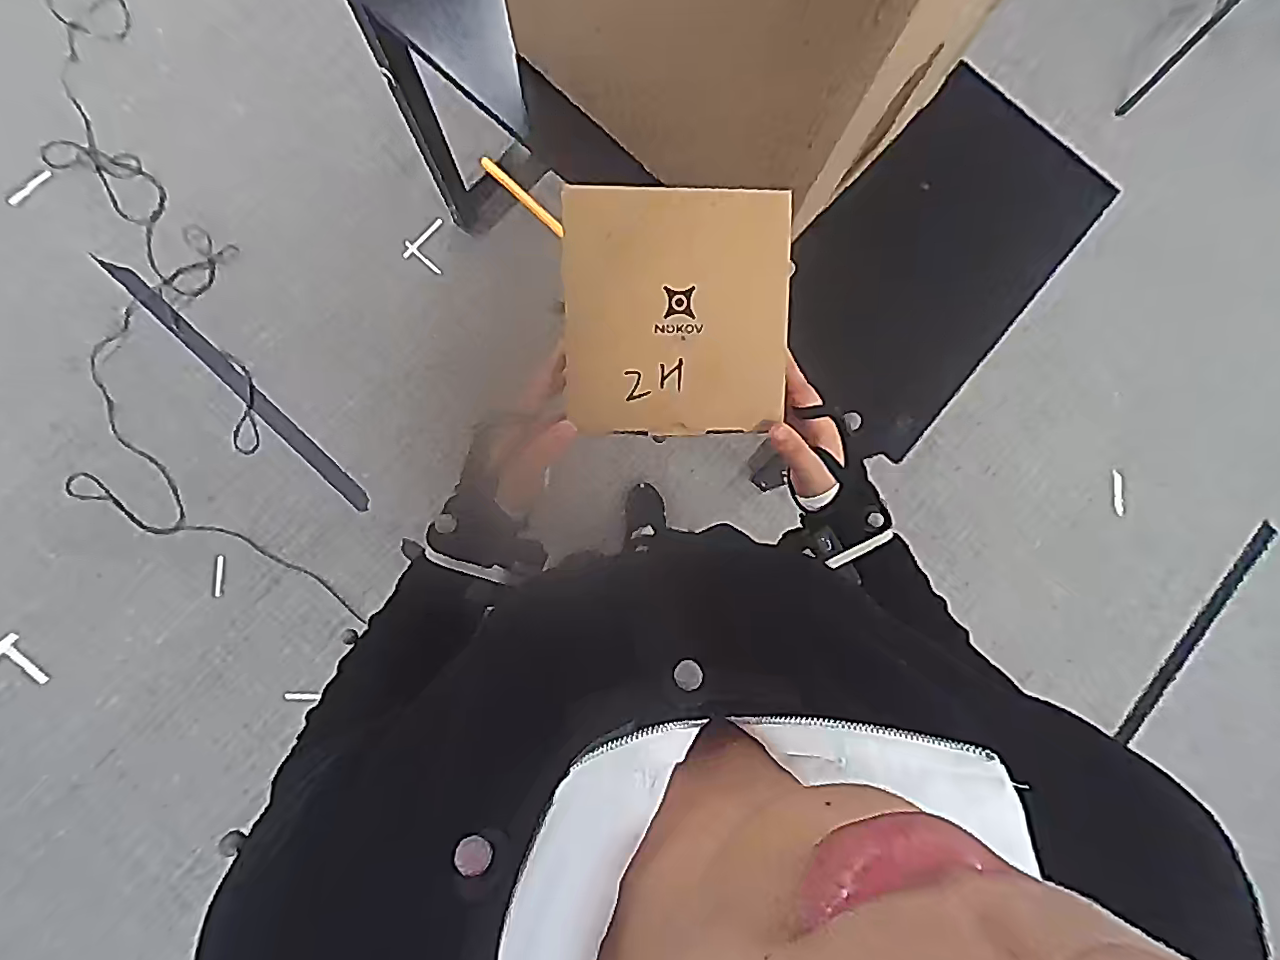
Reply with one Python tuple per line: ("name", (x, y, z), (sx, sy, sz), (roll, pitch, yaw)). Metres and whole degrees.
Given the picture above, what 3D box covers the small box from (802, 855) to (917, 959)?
("small box", (0.531, 1.089, 1.338), (0.168, 0.176, 0.179), (38, 84, 2))
